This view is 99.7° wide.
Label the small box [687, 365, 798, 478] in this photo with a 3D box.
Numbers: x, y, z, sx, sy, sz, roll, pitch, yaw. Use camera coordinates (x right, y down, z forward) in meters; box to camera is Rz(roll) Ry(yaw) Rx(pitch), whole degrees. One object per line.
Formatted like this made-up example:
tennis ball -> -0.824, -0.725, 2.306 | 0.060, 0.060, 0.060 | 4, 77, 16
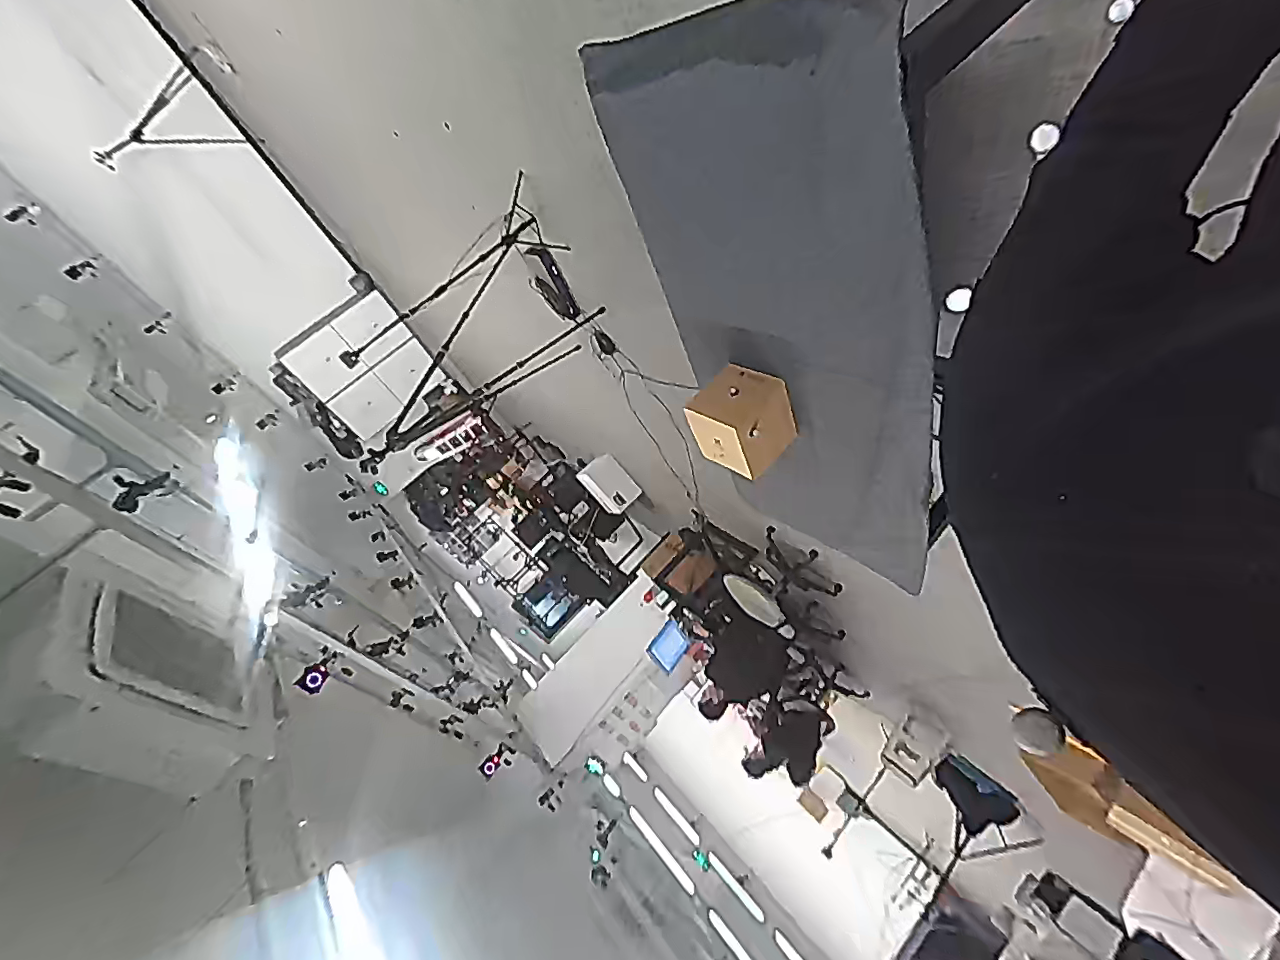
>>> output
small box -> 0.243, -0.142, 1.264 | 0.168, 0.176, 0.179 | 31, 160, 44
